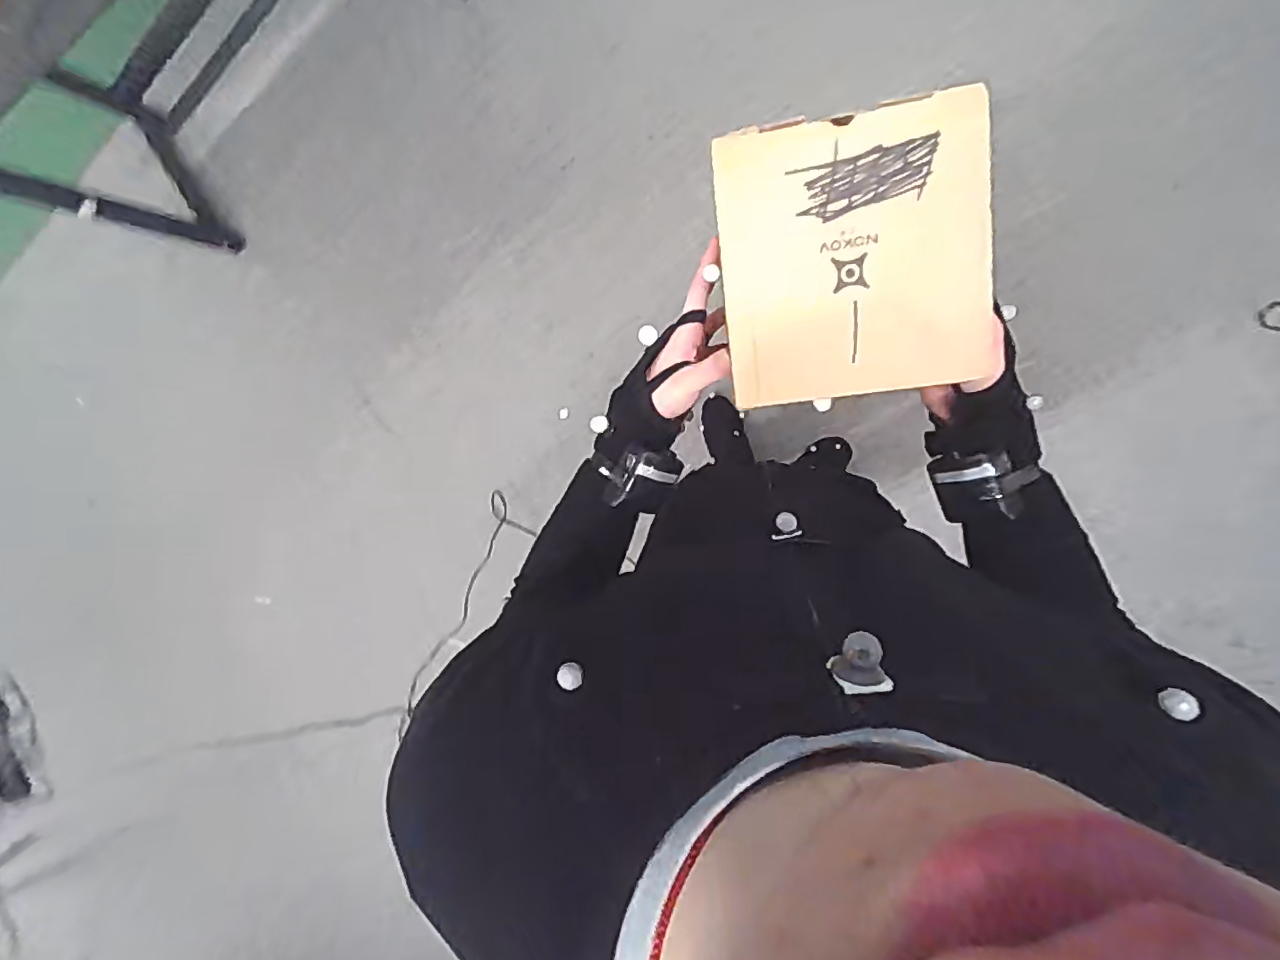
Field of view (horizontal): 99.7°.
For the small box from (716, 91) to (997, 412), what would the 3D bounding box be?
[{"bbox_3d":[0.151,-0.153,0.425,0.168,0.176,0.179,-7,100,11],"label":"small box"}]
